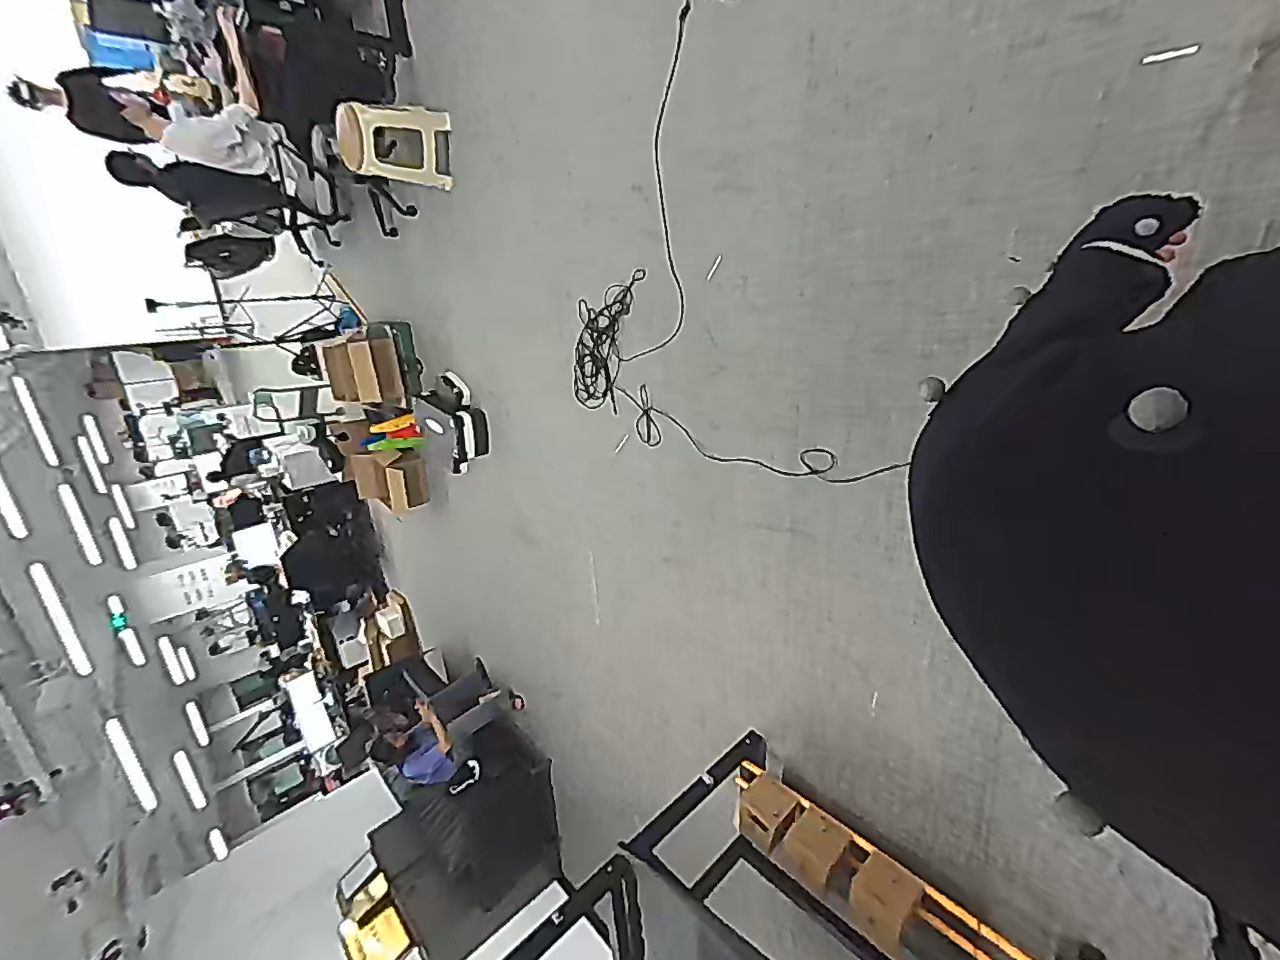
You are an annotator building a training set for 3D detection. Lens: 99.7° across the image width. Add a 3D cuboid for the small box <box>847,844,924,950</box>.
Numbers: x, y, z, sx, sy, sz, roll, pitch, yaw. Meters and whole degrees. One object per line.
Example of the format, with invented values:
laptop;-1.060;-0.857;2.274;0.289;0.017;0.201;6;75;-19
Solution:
small box;0.797;1.345;1.754;0.168;0.176;0.179;19;117;45
